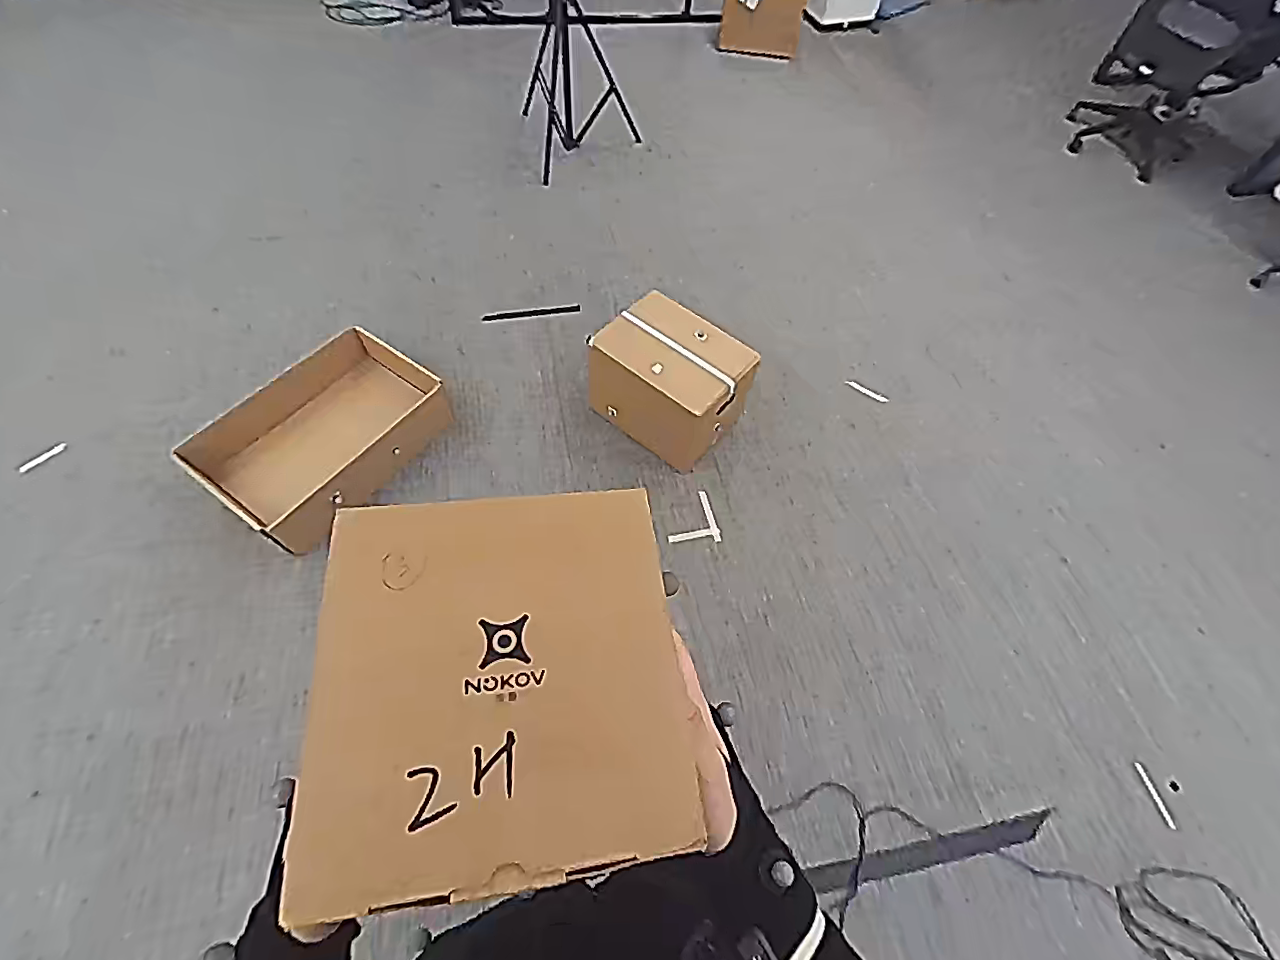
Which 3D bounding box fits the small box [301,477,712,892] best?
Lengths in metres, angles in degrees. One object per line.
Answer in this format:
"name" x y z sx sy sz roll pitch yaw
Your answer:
"small box" -0.070 0.117 0.326 0.168 0.176 0.179 -4 61 -10
